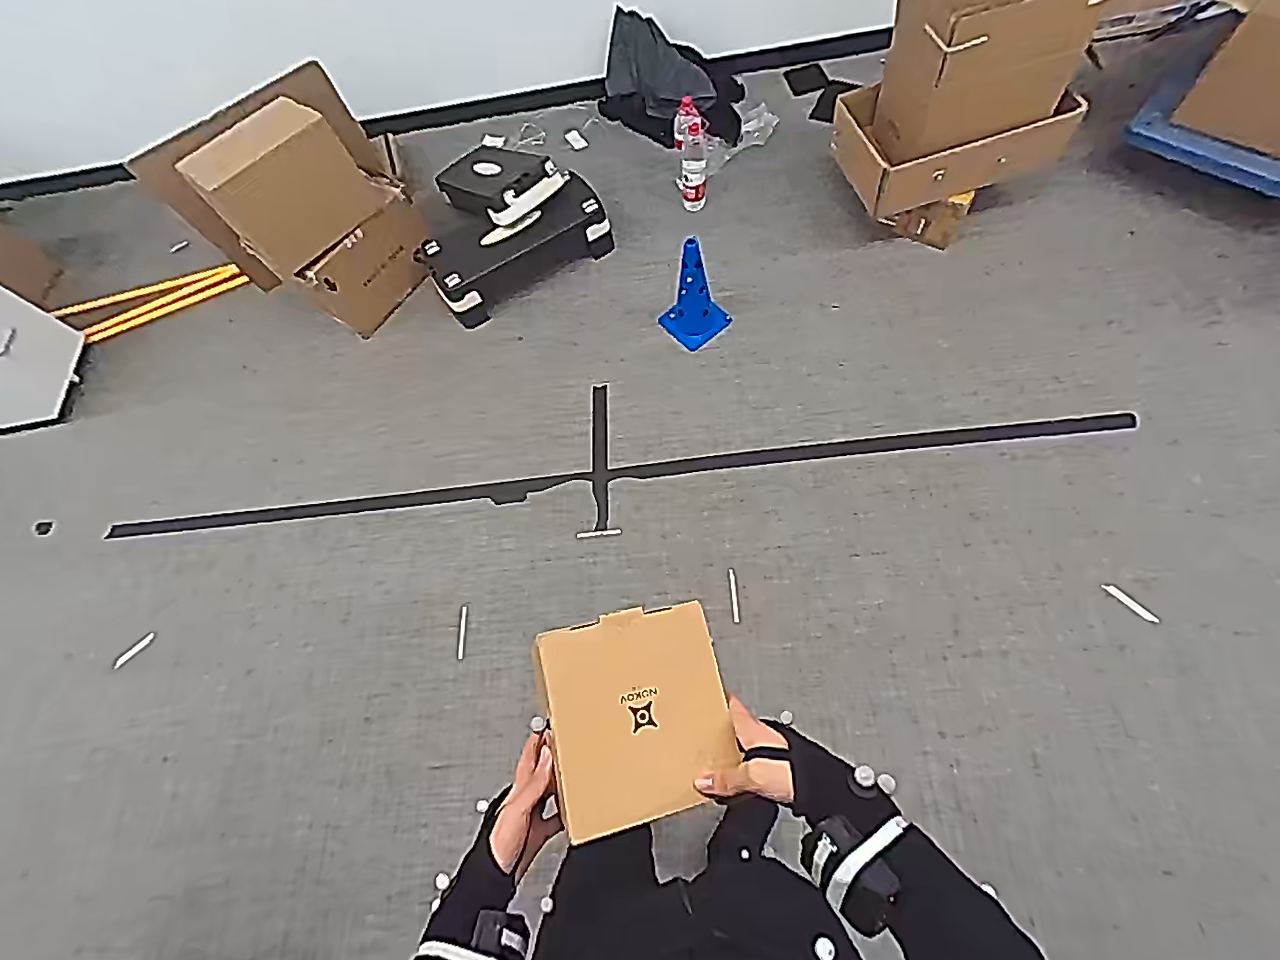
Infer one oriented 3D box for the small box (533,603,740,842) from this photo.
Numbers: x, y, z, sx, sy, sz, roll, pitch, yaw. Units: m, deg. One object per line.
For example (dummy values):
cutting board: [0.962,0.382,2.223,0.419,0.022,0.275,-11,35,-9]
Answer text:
small box: [-0.018,0.242,0.570,0.168,0.176,0.179,-8,69,-16]
